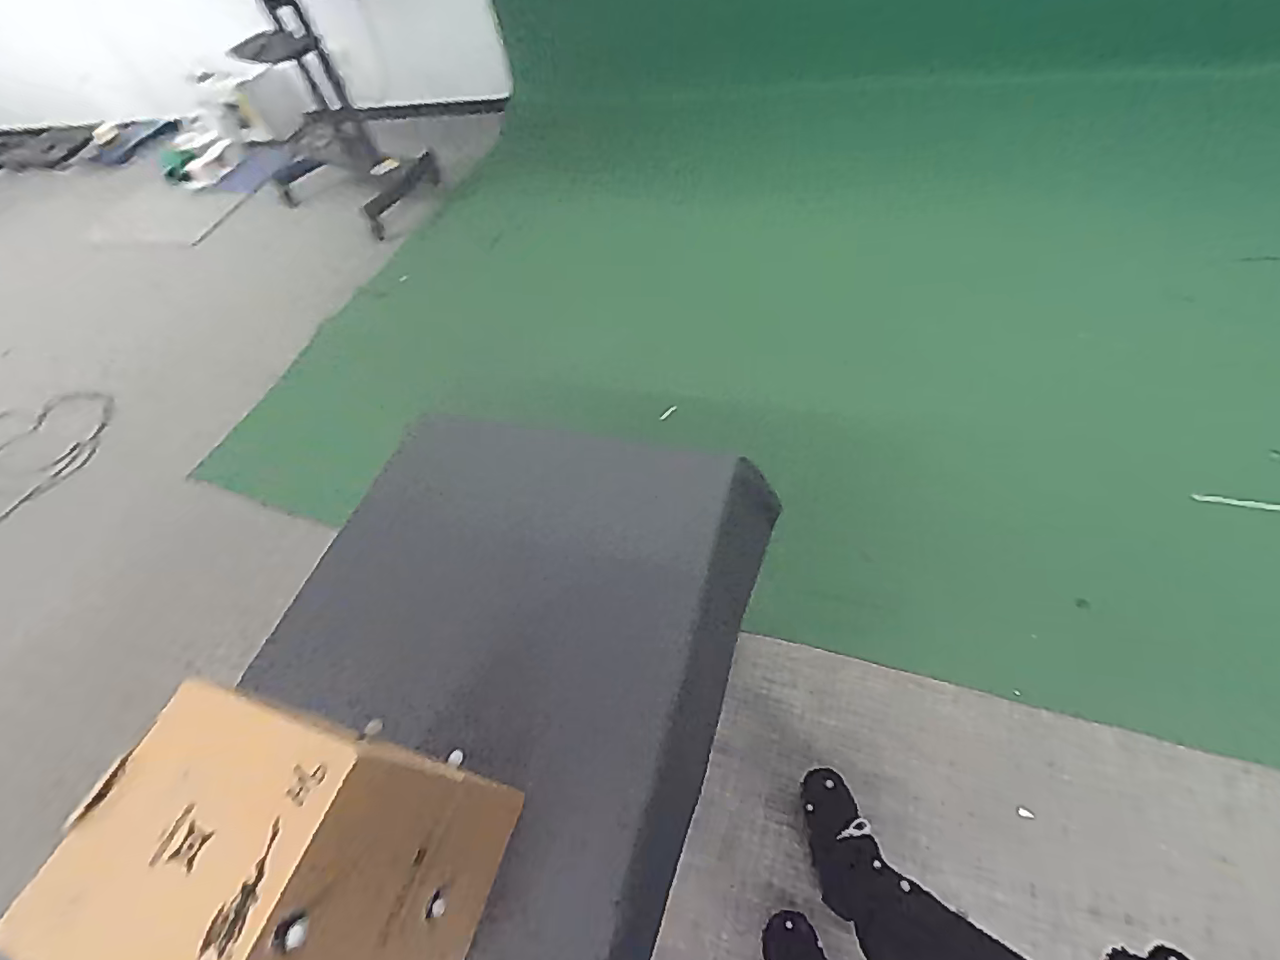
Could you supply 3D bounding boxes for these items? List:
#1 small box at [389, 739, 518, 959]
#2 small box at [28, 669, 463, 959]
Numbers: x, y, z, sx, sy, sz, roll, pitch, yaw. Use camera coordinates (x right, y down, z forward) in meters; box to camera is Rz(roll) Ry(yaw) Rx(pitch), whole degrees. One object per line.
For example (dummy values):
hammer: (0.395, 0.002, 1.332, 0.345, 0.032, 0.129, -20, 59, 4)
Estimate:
small box: (-0.248, 0.370, 0.553, 0.168, 0.176, 0.179, 9, 58, 18)
small box: (-0.277, 0.273, 0.428, 0.179, 0.176, 0.168, 8, 56, 17)
